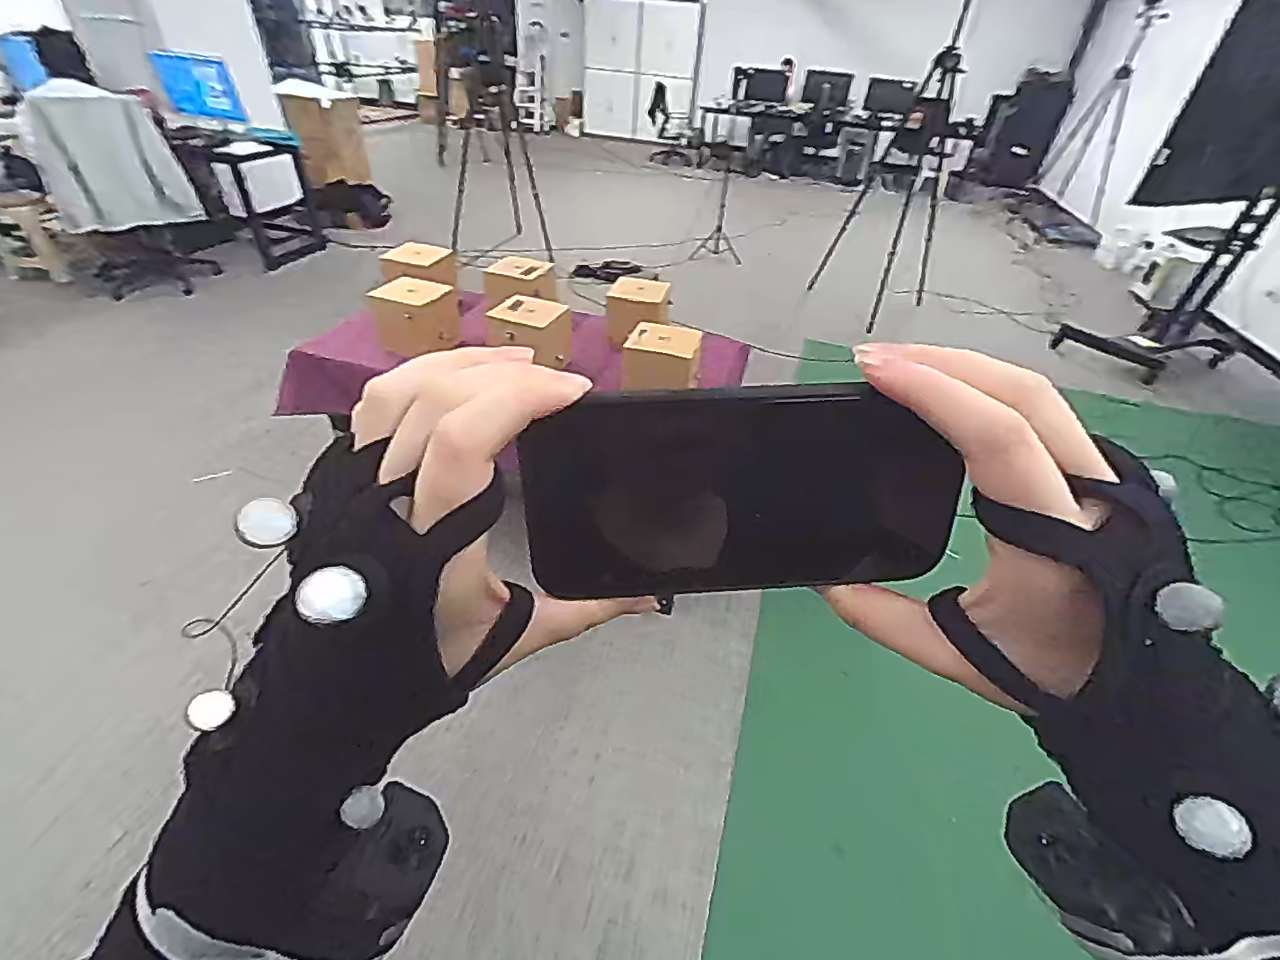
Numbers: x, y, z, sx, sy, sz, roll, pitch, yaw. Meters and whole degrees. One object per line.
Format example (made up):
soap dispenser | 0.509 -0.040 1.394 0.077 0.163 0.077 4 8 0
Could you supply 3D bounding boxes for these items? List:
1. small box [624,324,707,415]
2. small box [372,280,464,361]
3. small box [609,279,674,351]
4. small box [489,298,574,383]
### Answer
small box | 0.065 -0.290 1.431 0.179 0.176 0.168 13 40 10
small box | -0.641 -0.465 1.581 0.179 0.176 0.168 15 40 11
small box | 0.003 -0.509 1.691 0.168 0.176 0.179 12 40 10
small box | -0.300 -0.392 1.523 0.179 0.176 0.168 17 41 13
